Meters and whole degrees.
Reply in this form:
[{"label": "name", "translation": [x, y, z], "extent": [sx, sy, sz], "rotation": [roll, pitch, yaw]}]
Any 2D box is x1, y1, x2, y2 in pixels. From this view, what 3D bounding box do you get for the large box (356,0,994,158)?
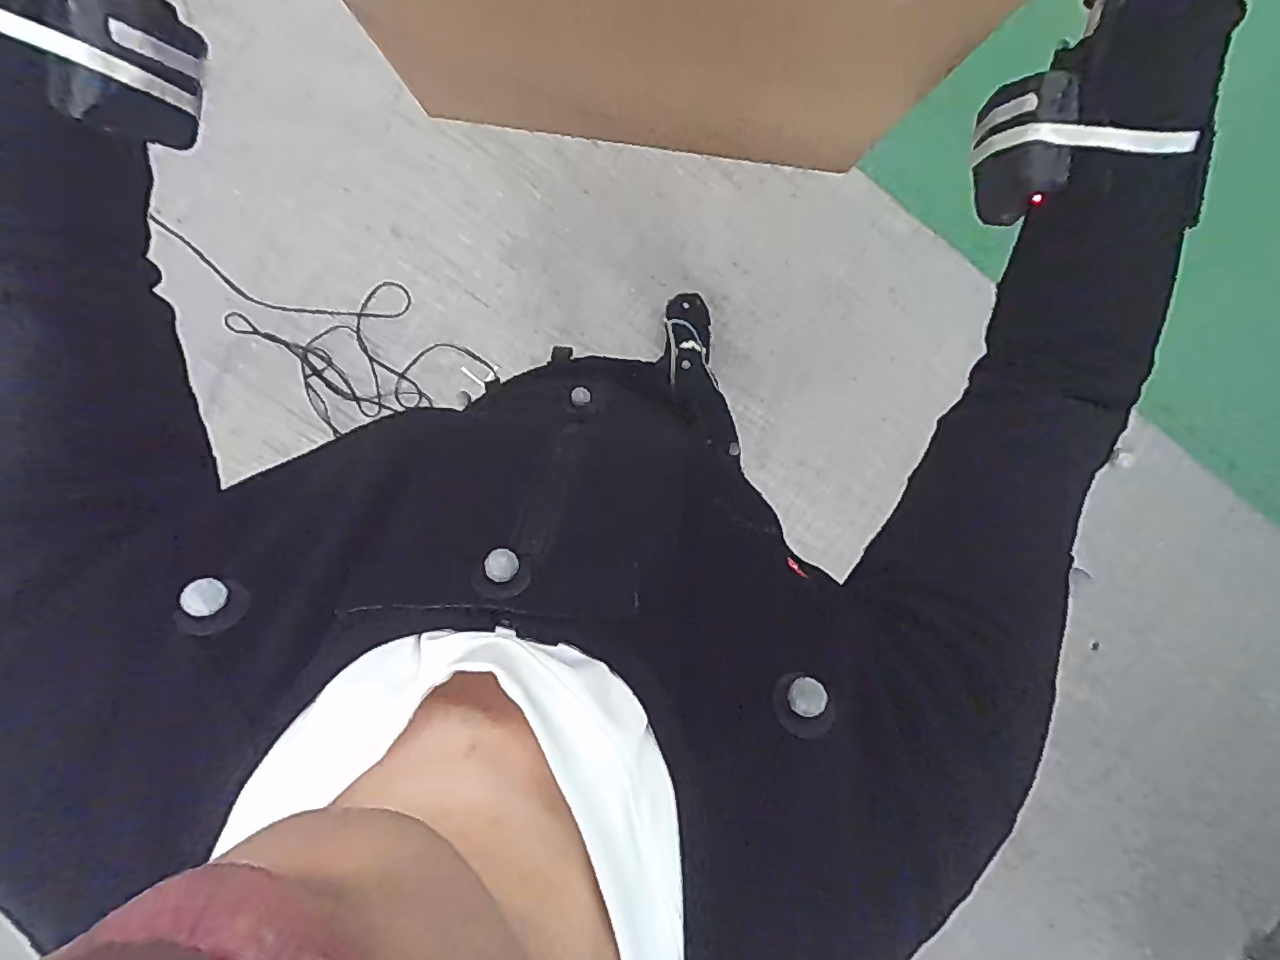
[{"label": "large box", "translation": [0.019, -0.447, 0.342], "extent": [0.408, 0.320, 0.320], "rotation": [5, 101, -3]}]
